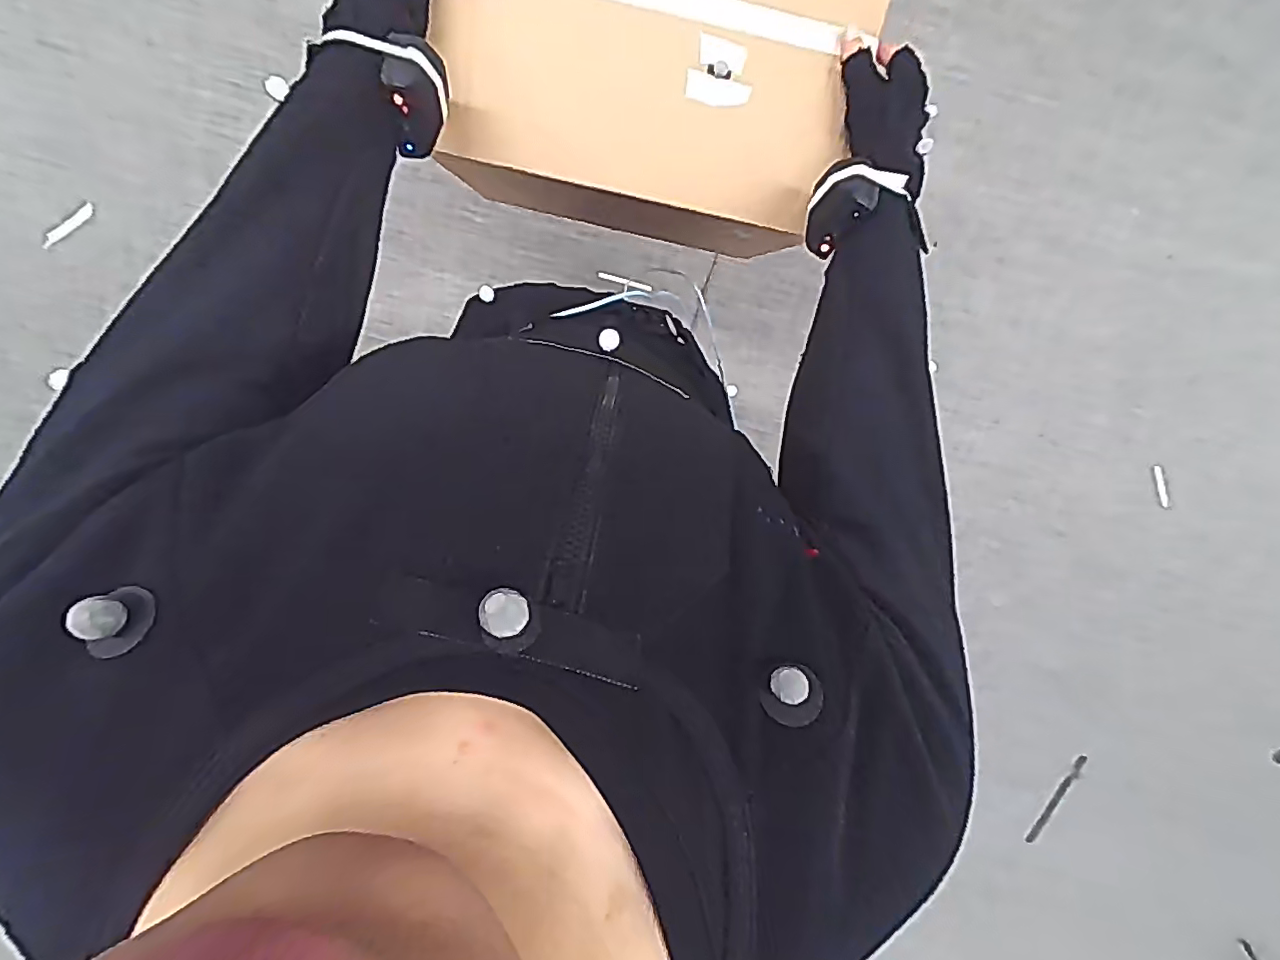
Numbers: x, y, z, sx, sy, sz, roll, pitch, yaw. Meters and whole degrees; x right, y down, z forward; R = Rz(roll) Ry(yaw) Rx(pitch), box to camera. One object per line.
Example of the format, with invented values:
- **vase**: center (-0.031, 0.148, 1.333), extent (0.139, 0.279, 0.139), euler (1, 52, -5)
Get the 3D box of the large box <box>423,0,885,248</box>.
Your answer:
- **large box**: center (0.009, -0.477, 0.617), extent (0.408, 0.320, 0.320), euler (10, 110, -7)
